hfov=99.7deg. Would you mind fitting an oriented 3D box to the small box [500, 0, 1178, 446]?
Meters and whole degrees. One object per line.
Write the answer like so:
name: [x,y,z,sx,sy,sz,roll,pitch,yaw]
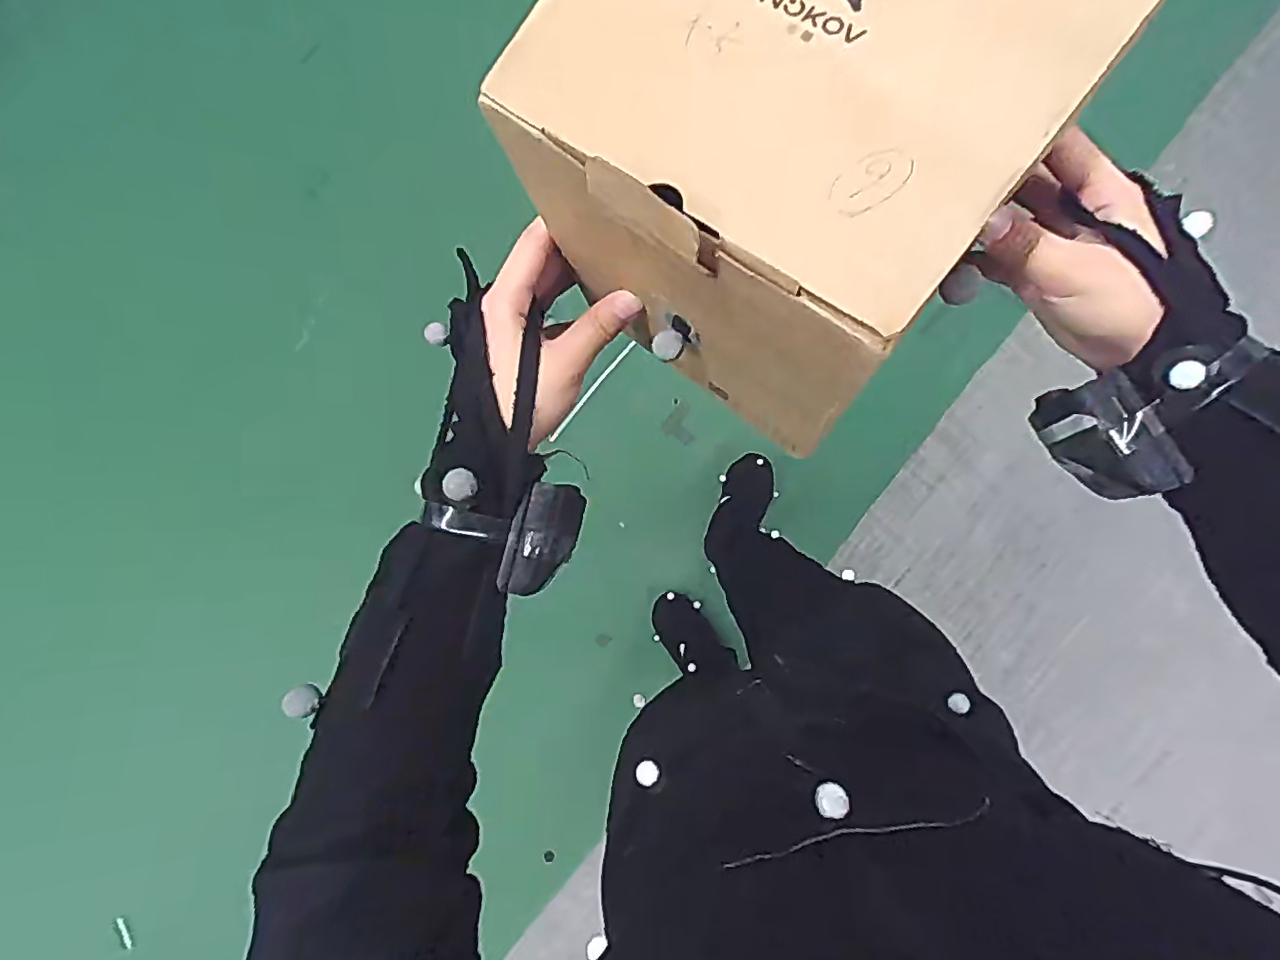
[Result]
small box: [0.076,-0.138,0.255,0.168,0.176,0.179,39,90,12]
